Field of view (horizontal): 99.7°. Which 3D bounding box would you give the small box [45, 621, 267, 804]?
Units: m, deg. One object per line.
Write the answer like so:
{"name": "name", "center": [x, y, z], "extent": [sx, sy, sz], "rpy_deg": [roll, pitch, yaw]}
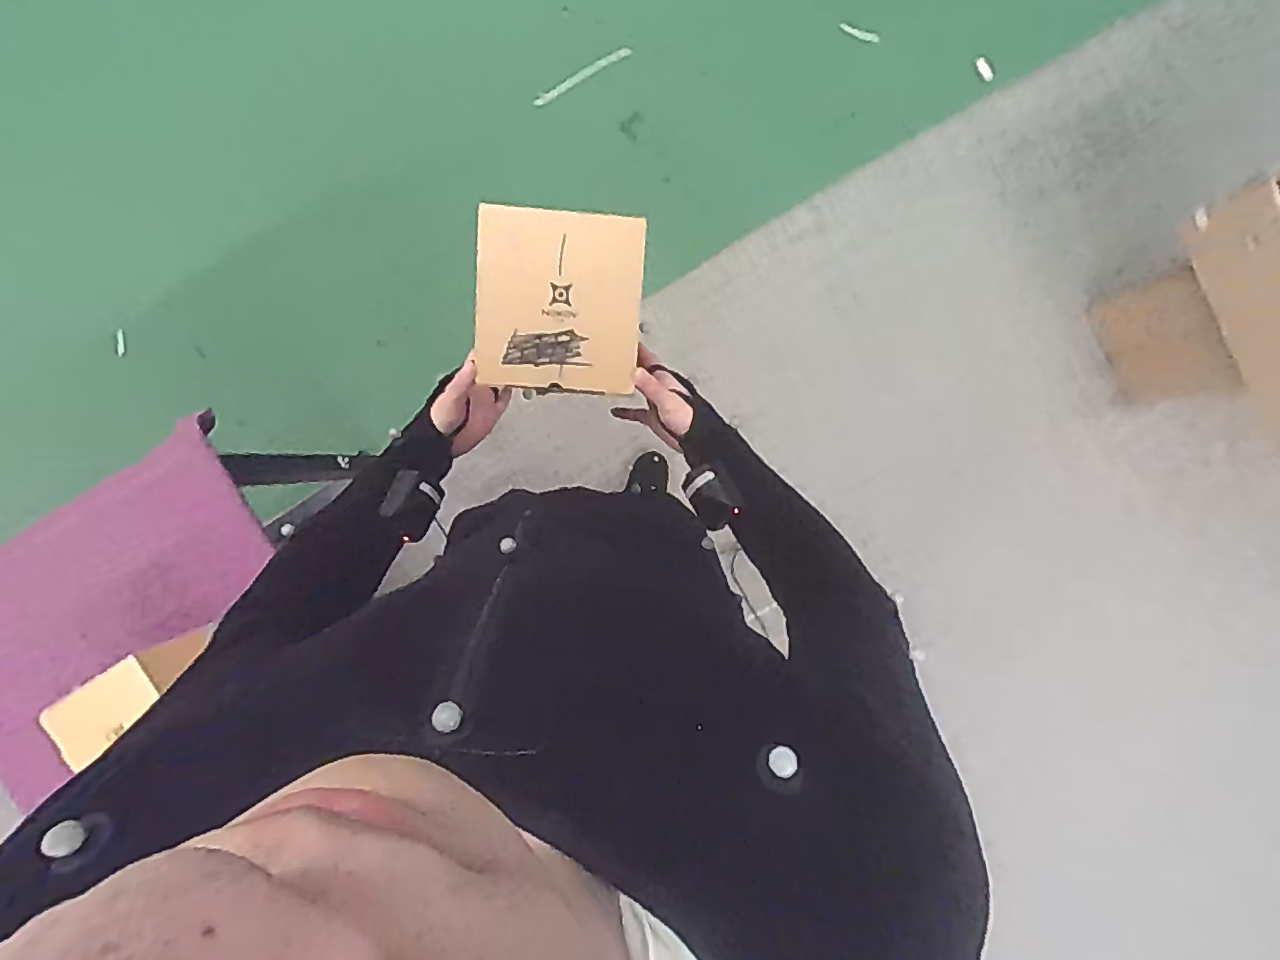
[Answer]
{"name": "small box", "center": [-0.740, 0.352, 0.855], "extent": [0.179, 0.176, 0.168], "rpy_deg": [-33, 92, 4]}

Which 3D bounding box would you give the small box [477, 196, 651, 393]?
{"name": "small box", "center": [-0.080, -0.196, 0.618], "extent": [0.168, 0.176, 0.179], "rpy_deg": [5, 100, -3]}
